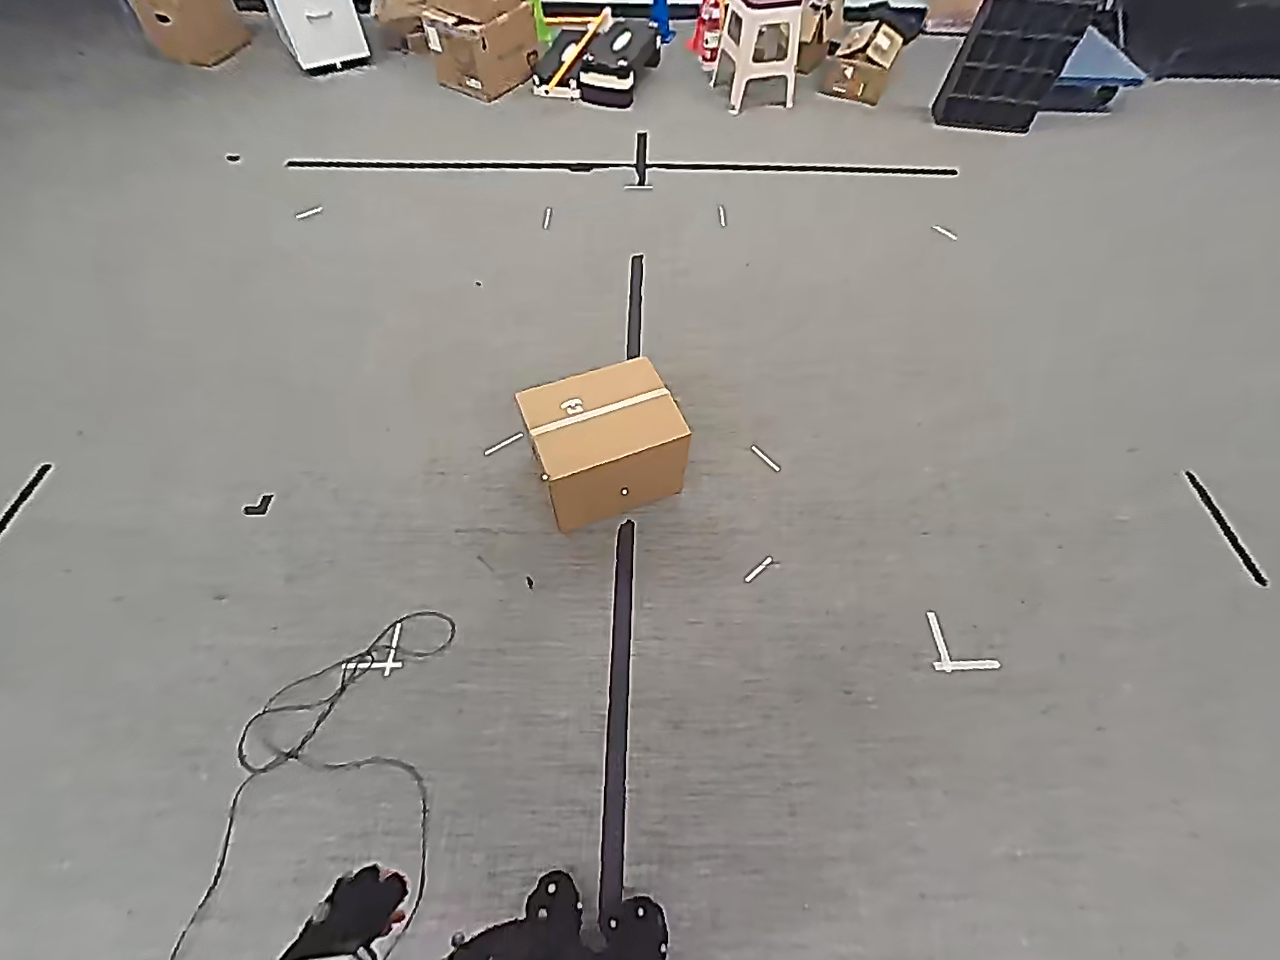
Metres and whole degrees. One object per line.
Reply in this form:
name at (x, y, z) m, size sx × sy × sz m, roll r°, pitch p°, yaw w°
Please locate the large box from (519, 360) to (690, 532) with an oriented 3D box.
large box at (-0.103, -0.096, 1.619) m, size 0.408 × 0.320 × 0.320 m, roll -19°, pitch 60°, yaw -12°
